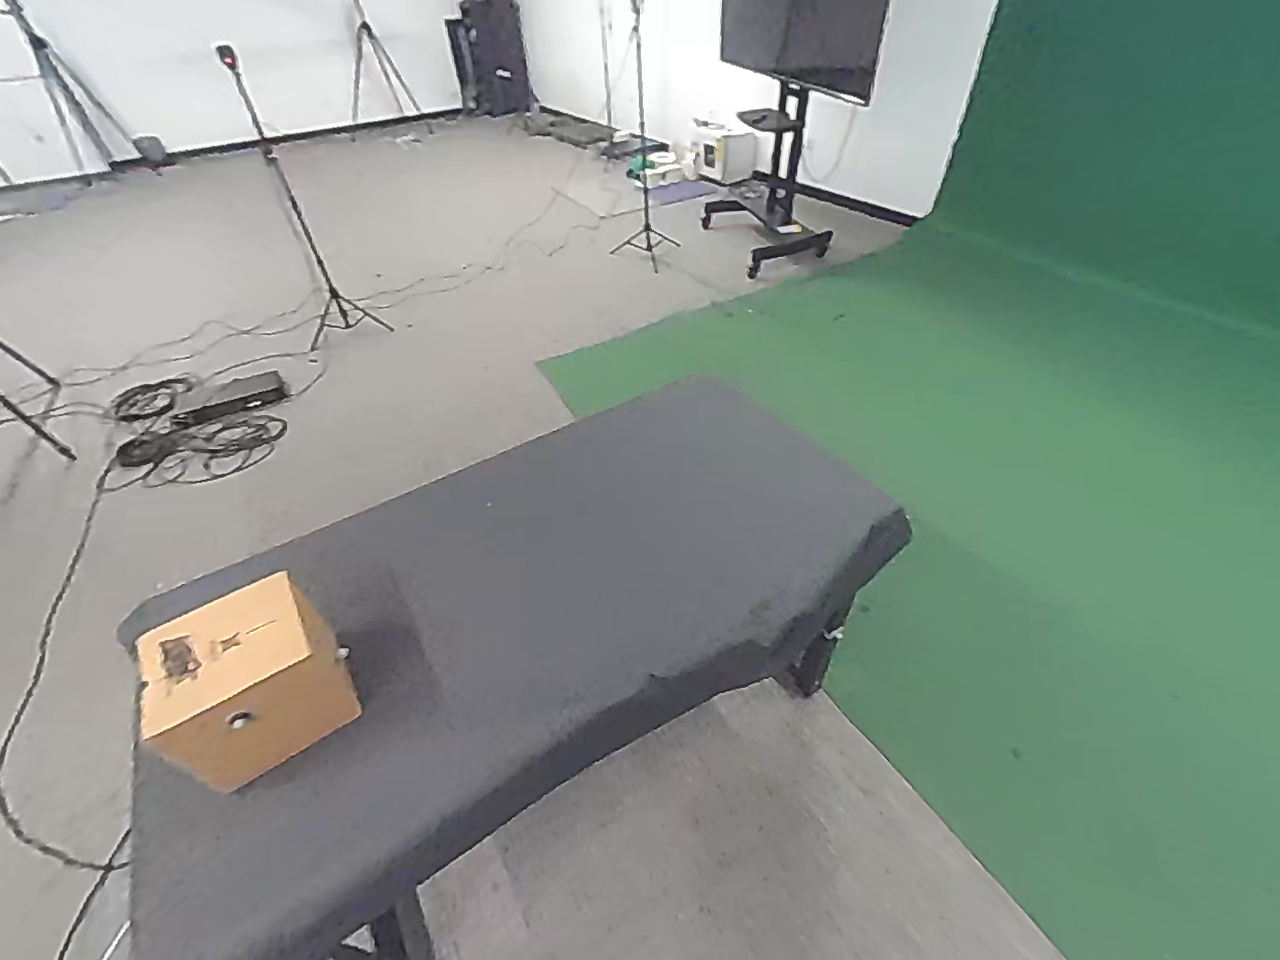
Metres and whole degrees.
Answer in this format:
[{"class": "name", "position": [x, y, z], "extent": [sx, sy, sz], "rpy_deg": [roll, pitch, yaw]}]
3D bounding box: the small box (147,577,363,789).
[{"class": "small box", "position": [-0.509, 0.272, 0.728], "extent": [0.179, 0.176, 0.168], "rpy_deg": [-27, 48, -25]}]
